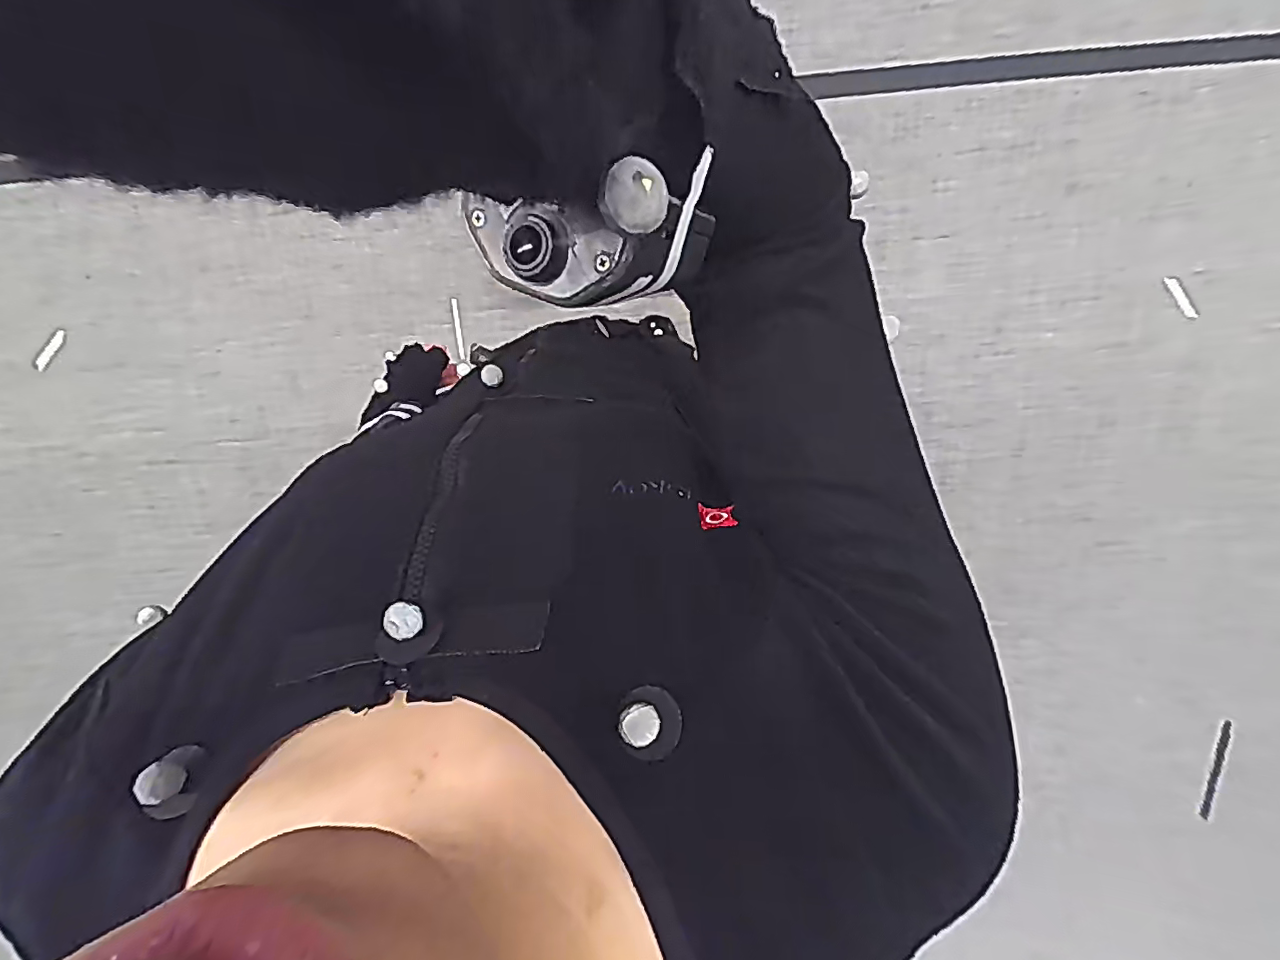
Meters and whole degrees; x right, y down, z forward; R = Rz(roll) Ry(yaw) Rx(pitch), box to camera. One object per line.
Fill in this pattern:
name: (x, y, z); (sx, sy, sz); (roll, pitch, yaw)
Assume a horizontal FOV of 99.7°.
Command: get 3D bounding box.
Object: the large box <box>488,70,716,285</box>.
large box: (-0.067, -0.612, 1.162); (0.408, 0.320, 0.320); (-6, 107, 1)
